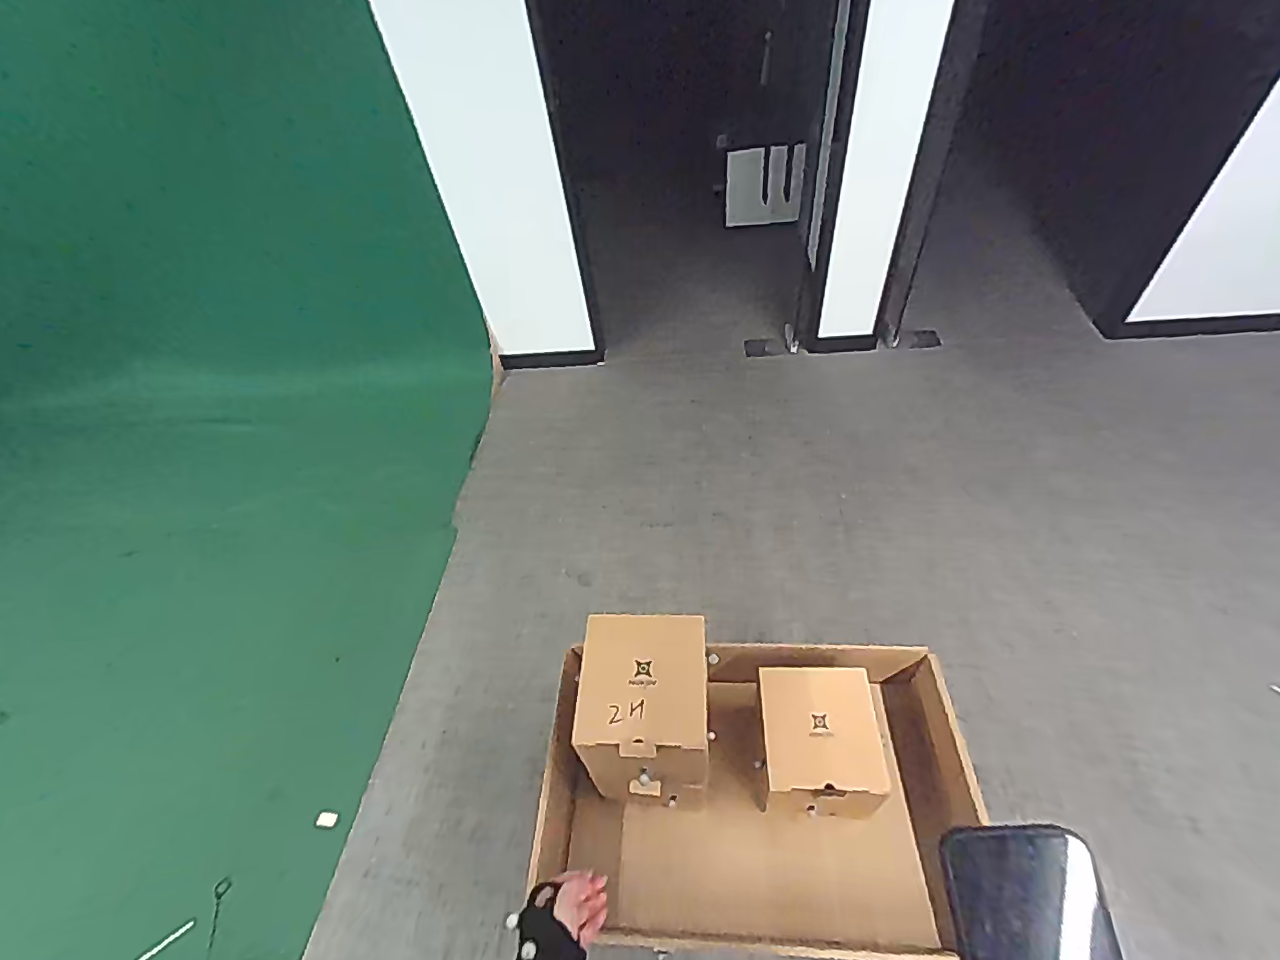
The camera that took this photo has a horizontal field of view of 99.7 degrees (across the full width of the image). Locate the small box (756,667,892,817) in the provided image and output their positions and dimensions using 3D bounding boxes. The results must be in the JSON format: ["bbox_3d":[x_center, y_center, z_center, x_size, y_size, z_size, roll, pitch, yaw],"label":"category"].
[{"bbox_3d":[0.274,0.411,0.851,0.168,0.176,0.179,-3,49,8],"label":"small box"}]

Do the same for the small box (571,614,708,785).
[{"bbox_3d":[0.010,0.308,0.761,0.168,0.176,0.179,-1,49,7],"label":"small box"}]
